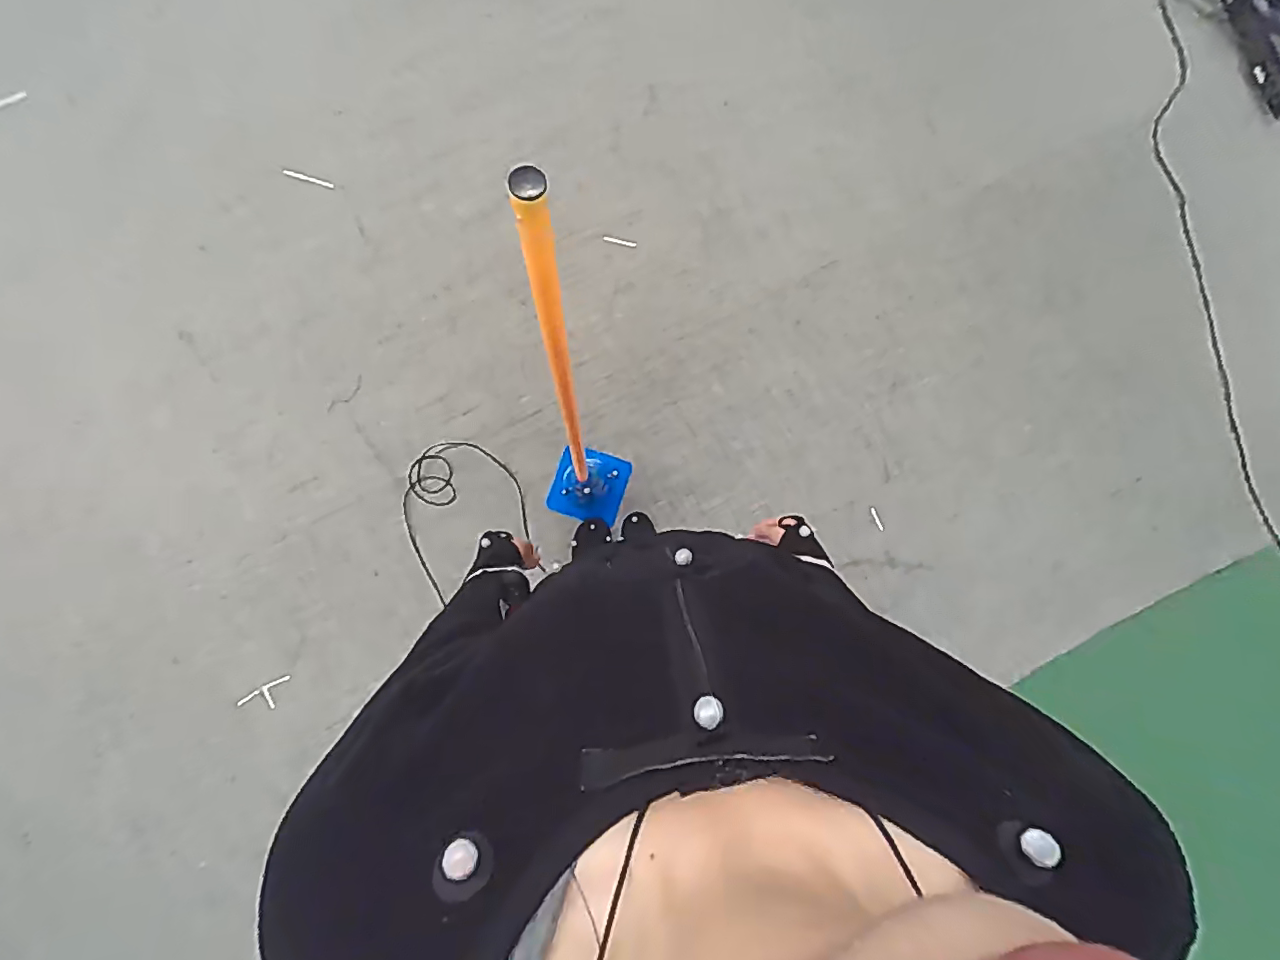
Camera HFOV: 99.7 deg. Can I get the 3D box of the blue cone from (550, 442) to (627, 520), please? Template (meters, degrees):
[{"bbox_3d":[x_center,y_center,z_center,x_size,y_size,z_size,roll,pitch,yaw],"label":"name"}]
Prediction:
[{"bbox_3d":[-0.132,-0.011,1.324,0.192,0.380,0.193,17,85,-2],"label":"blue cone"}]
